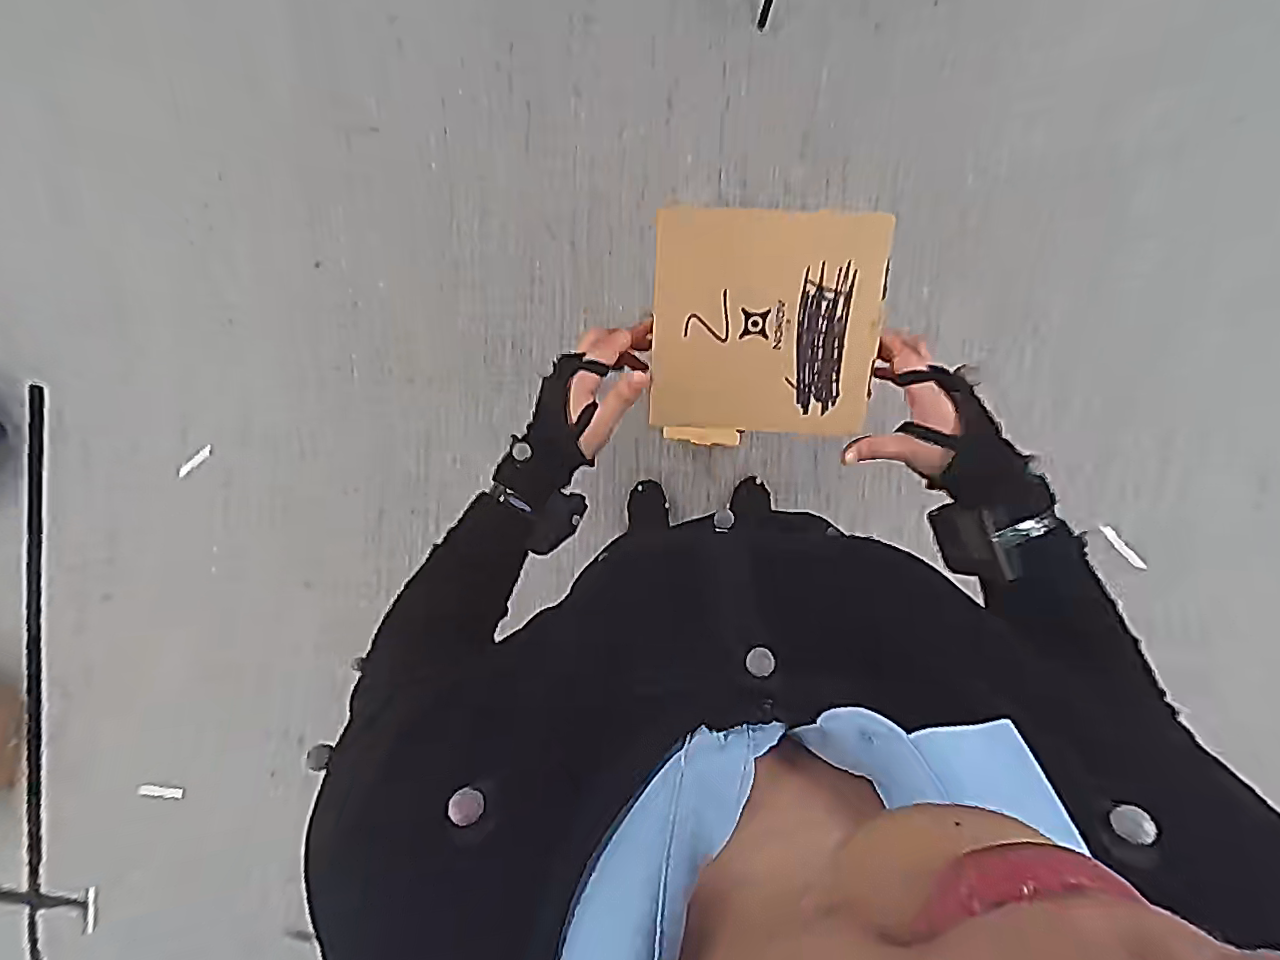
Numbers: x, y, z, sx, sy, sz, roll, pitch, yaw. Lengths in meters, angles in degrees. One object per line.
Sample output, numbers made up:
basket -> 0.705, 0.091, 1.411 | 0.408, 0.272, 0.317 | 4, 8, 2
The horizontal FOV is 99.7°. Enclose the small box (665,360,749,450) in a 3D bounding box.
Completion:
small box -> 0.149, -0.167, 1.245 | 0.168, 0.176, 0.179 | 7, 93, 5
